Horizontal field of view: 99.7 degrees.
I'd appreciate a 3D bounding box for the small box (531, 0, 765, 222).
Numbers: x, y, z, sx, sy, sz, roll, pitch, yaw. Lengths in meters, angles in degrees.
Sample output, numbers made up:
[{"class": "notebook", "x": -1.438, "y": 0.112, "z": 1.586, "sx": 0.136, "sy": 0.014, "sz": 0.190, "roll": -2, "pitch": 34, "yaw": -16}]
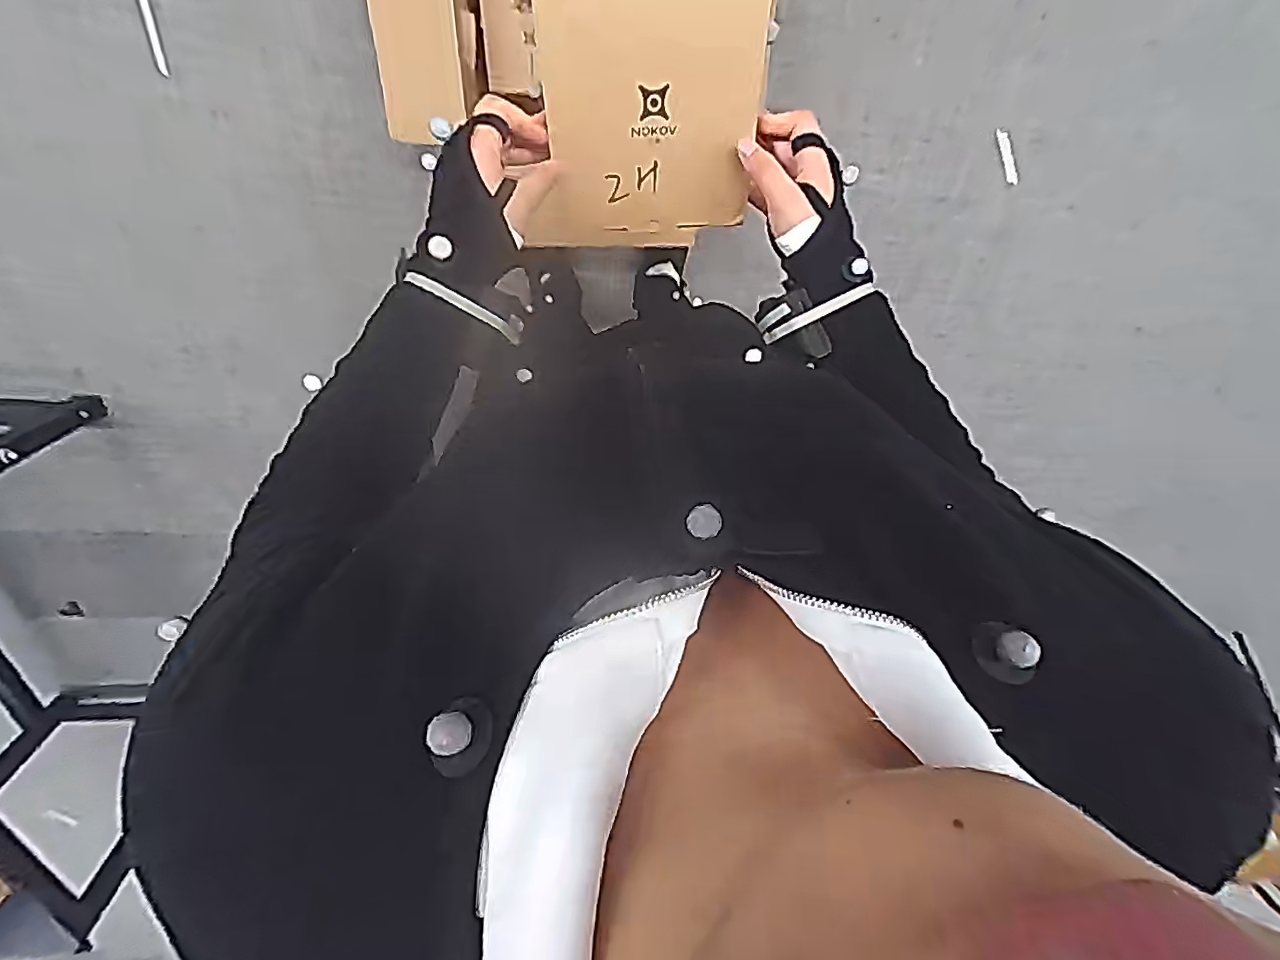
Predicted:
[{"class": "small box", "x": 0.001, "y": -0.348, "z": 0.471, "sx": 0.168, "sy": 0.176, "sz": 0.179, "roll": -2, "pitch": 138, "yaw": -1}]
